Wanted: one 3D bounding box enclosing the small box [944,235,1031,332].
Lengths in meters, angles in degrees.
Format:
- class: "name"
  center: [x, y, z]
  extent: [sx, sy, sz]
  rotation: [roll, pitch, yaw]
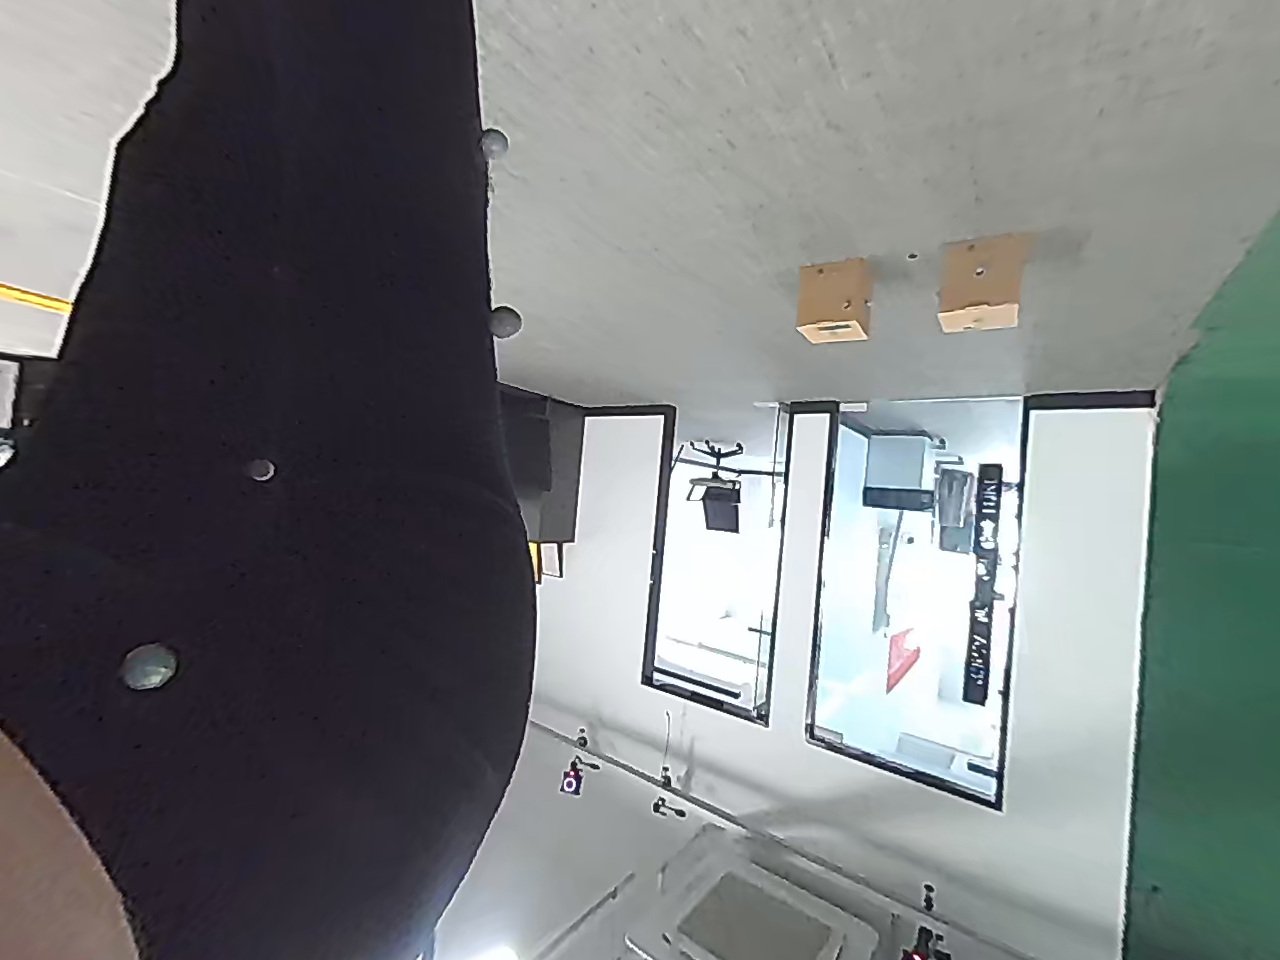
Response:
- class: "small box"
  center: [0.840, -0.476, 1.311]
  extent: [0.168, 0.176, 0.179]
  rotation: [4, 178, 34]
